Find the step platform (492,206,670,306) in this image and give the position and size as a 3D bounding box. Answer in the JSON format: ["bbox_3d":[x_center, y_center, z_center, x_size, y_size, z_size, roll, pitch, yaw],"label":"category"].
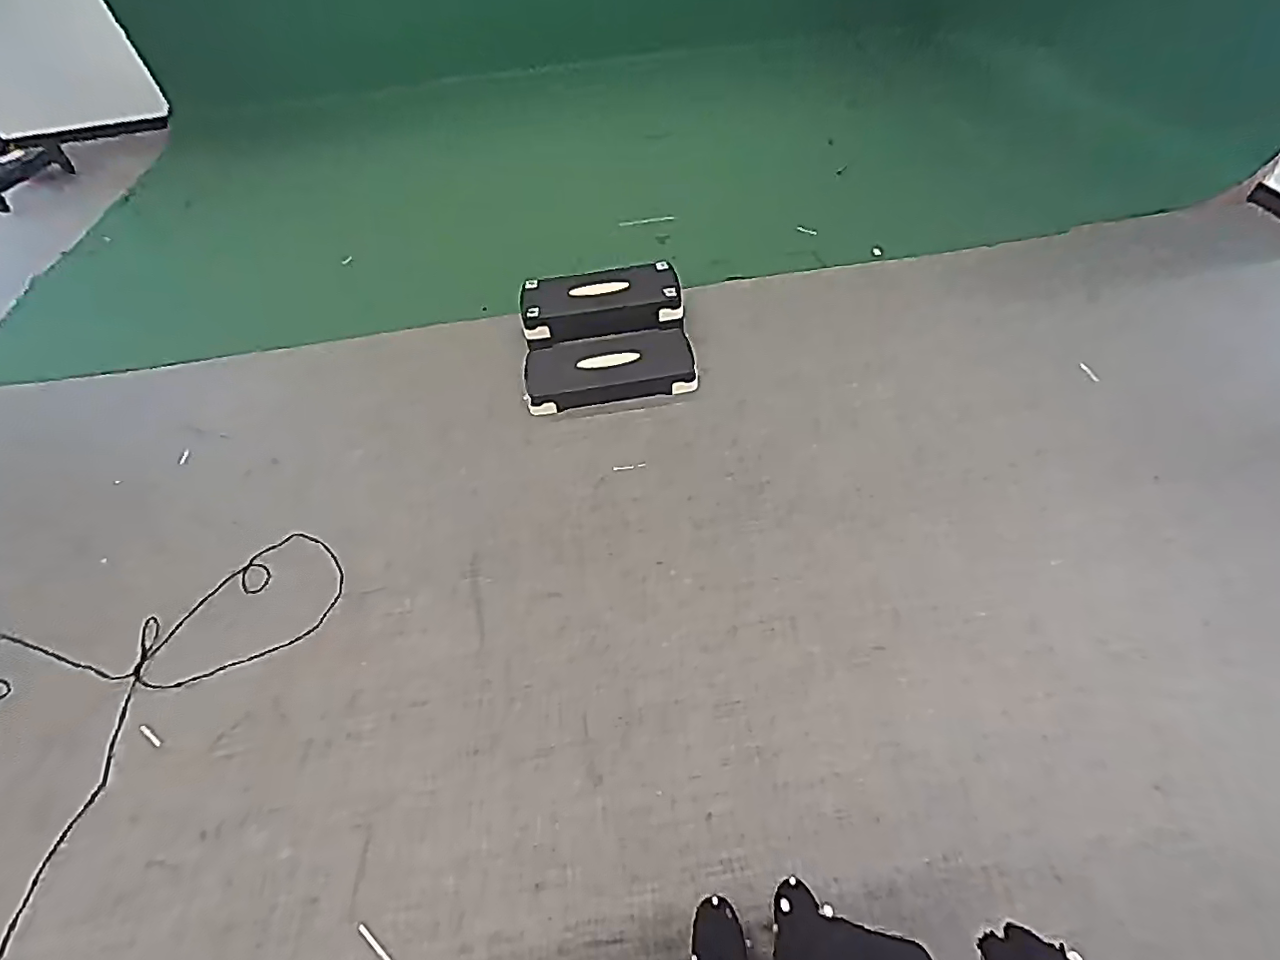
[{"bbox_3d":[-0.224,-0.890,2.151,0.684,0.204,0.286,-9,54,-1],"label":"step platform"}]
